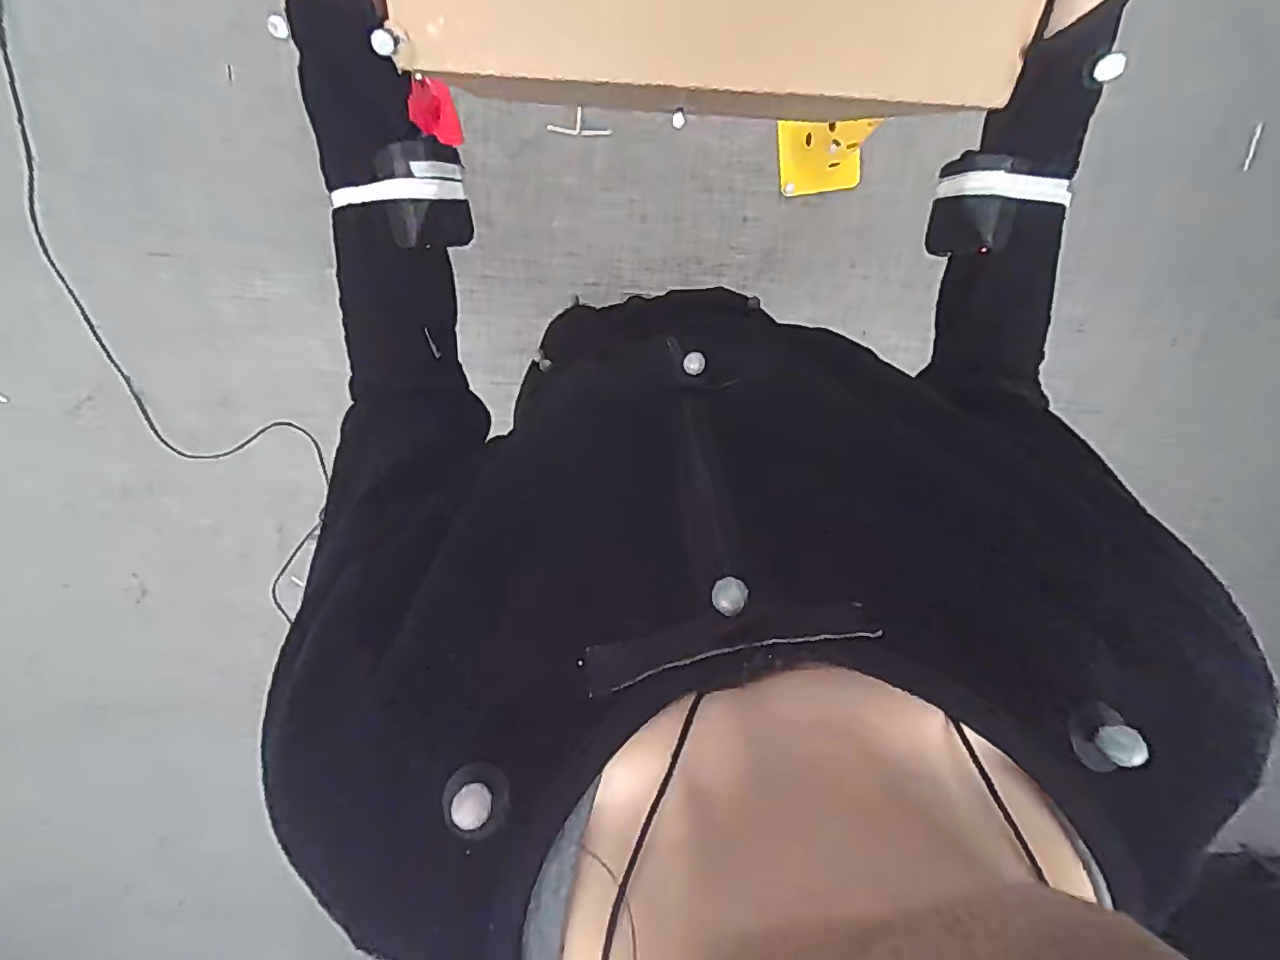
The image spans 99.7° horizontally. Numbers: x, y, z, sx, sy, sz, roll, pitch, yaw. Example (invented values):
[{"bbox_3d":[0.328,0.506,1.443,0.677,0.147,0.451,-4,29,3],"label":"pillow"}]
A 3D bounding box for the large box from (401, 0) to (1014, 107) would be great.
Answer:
[{"bbox_3d":[0.043,-0.477,0.411,0.408,0.320,0.320,-1,121,-6],"label":"large box"}]
